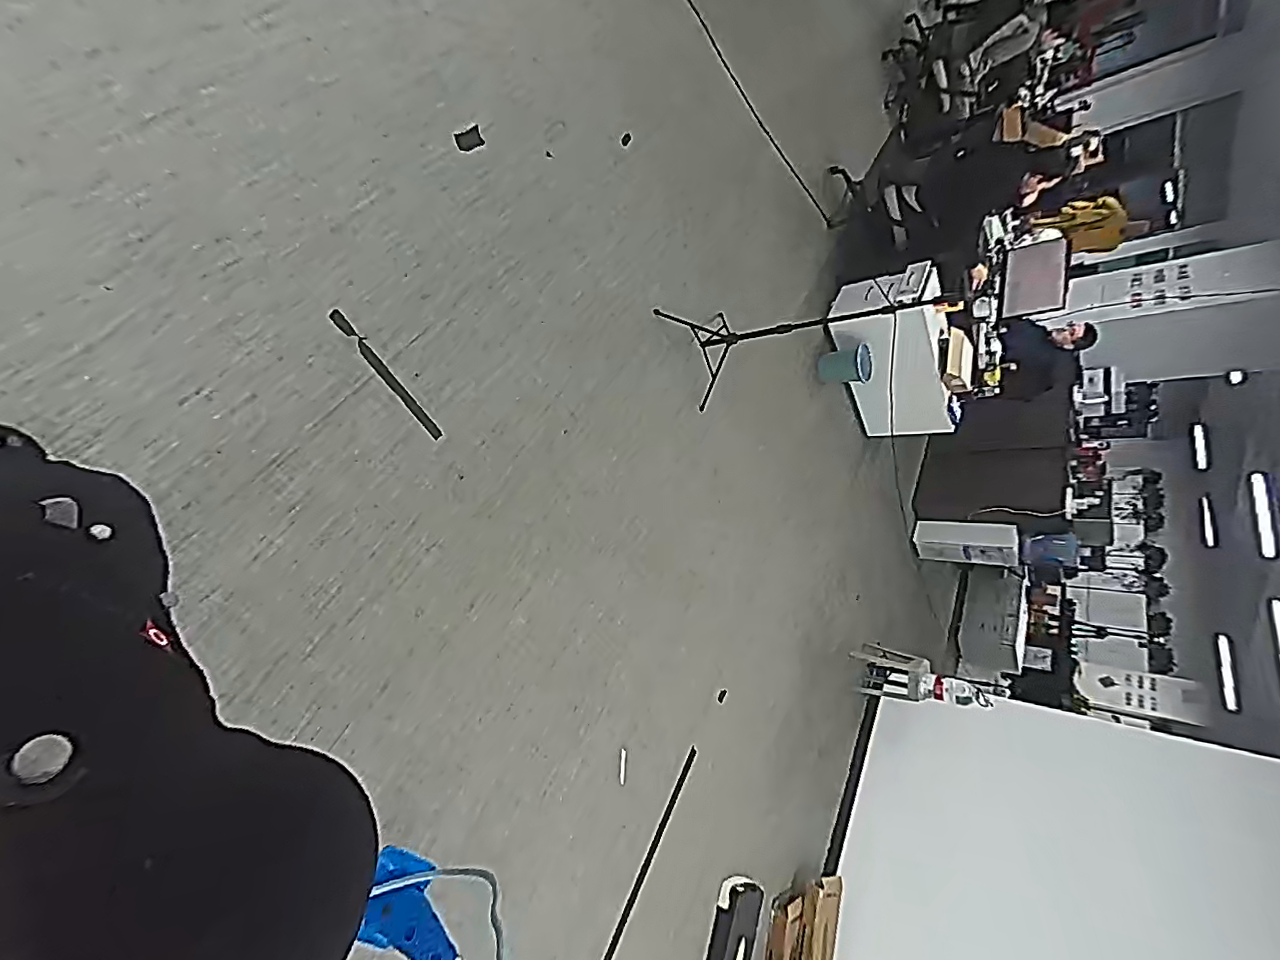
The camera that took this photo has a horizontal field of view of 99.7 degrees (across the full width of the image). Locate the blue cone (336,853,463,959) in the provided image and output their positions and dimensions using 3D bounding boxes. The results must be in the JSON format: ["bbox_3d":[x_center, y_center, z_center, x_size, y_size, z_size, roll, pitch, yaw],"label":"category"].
[{"bbox_3d":[-0.529,1.080,1.279,0.193,0.380,0.192,57,50,-32],"label":"blue cone"}]
